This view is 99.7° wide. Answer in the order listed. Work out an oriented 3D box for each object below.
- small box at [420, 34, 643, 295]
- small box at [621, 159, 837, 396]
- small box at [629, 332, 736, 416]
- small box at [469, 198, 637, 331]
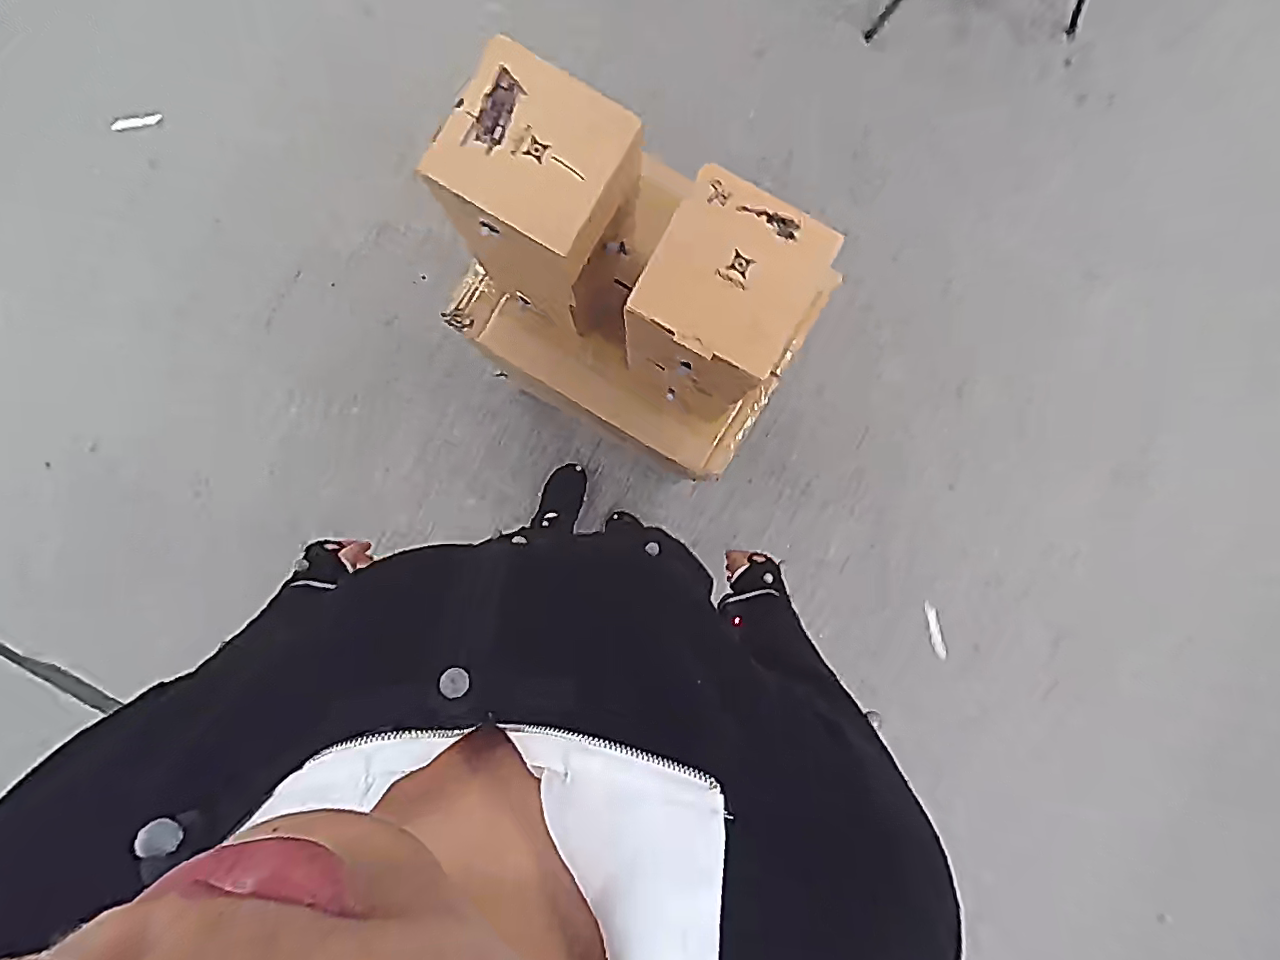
[{"bbox_3d":[-0.113,-0.346,0.634,0.179,0.176,0.168,30,90,-2],"label":"small box"},{"bbox_3d":[0.095,-0.217,0.636,0.168,0.176,0.179,30,90,1],"label":"small box"},{"bbox_3d":[0.095,-0.215,0.800,0.168,0.176,0.179,31,90,1],"label":"small box"},{"bbox_3d":[-0.118,-0.351,0.798,0.168,0.176,0.179,31,91,-1],"label":"small box"}]
